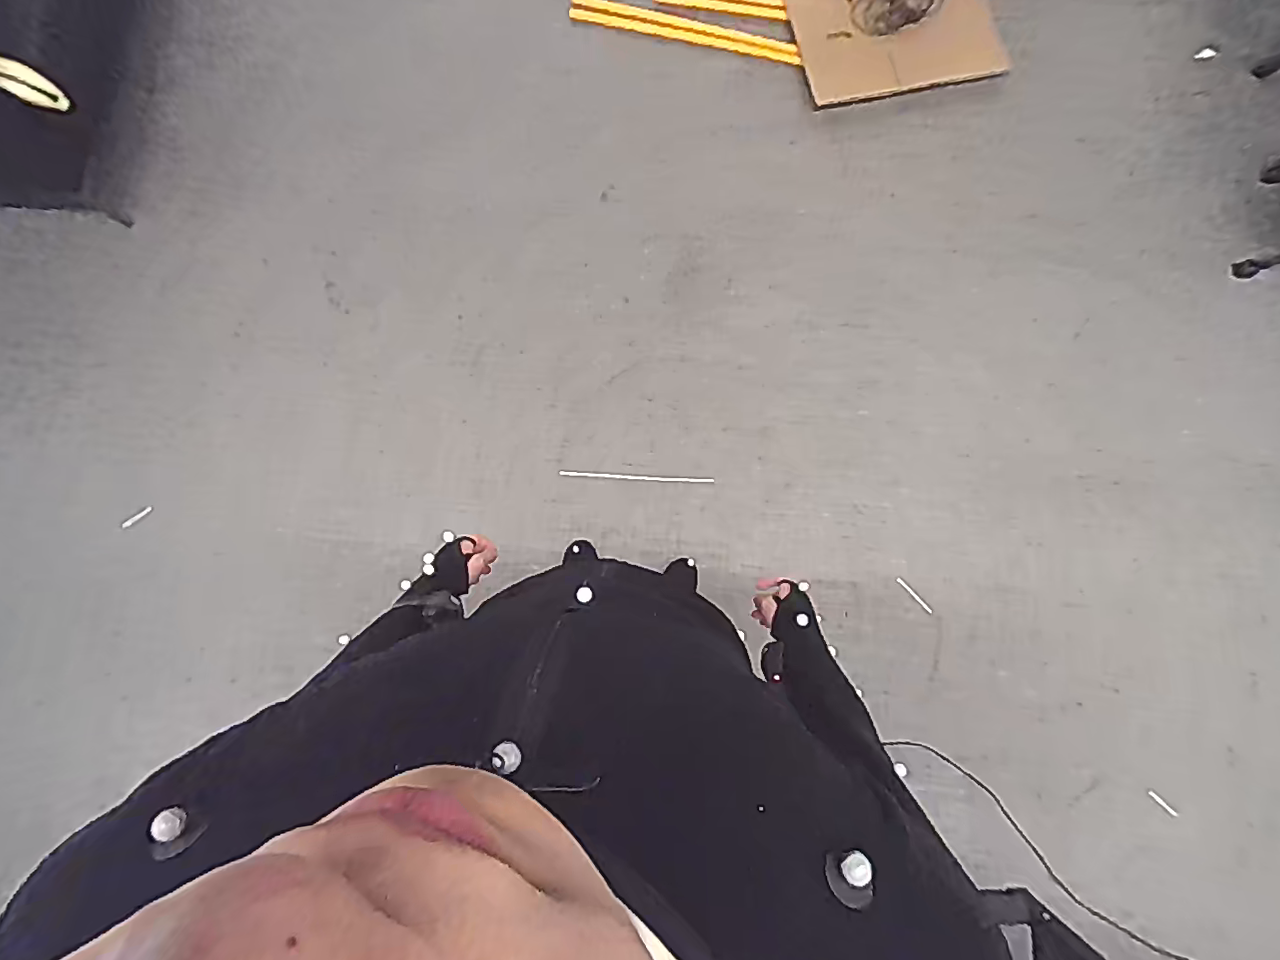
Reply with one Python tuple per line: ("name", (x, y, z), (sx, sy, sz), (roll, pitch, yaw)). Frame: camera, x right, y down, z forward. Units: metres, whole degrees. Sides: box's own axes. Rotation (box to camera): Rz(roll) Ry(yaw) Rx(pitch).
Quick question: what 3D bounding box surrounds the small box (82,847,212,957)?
("small box", (-1.290, 1.105, 1.429), (0.179, 0.176, 0.168), (7, 81, 1))
